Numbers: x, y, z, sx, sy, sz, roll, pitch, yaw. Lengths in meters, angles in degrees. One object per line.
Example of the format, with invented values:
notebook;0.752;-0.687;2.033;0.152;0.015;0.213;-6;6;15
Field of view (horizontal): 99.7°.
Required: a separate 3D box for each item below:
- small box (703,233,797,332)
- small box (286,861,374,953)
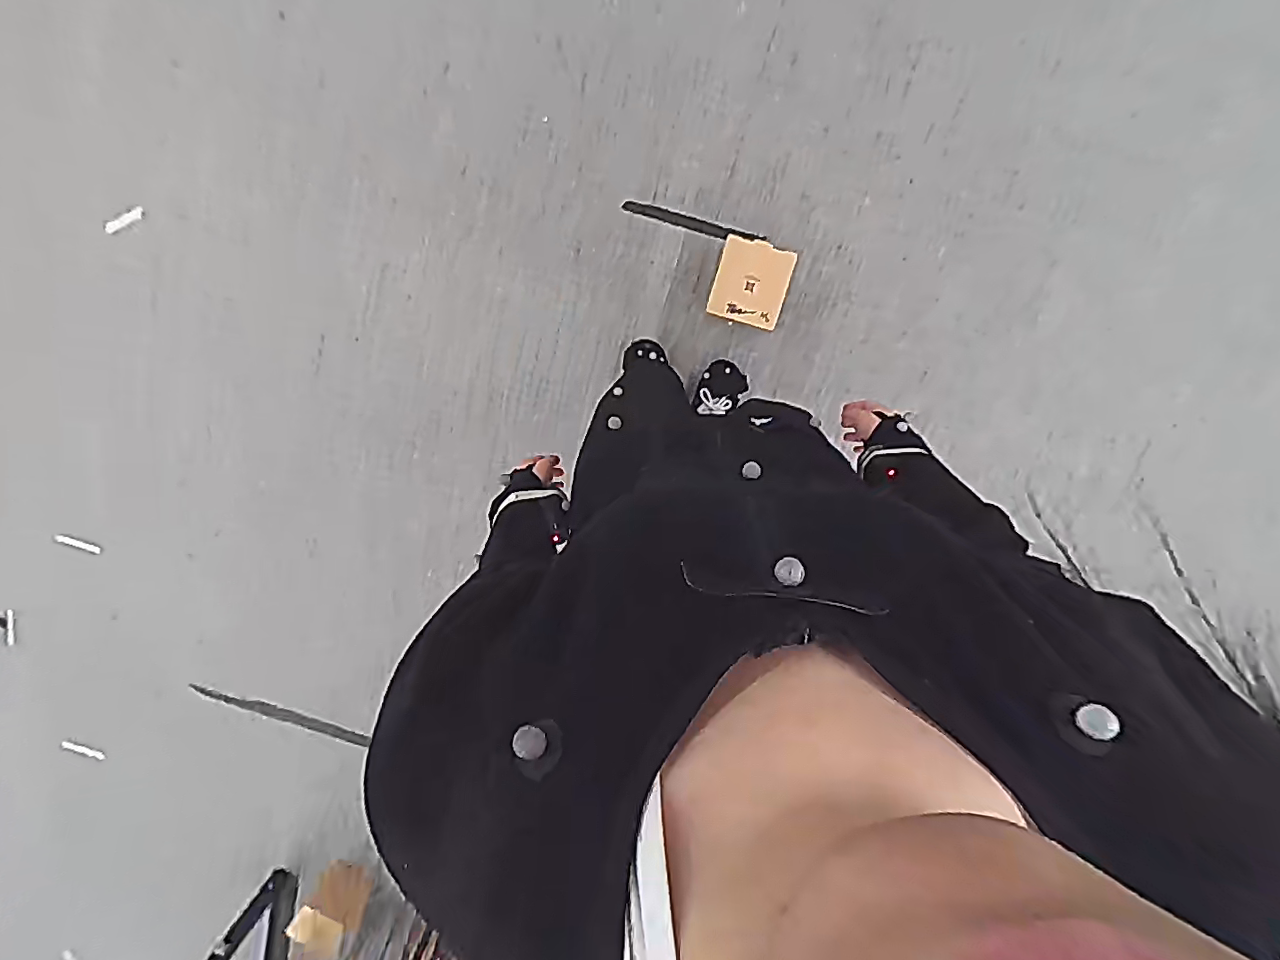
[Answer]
small box;0.255;-0.467;1.305;0.168;0.176;0.179;16;103;0
small box;-1.082;1.488;1.898;0.179;0.176;0.168;34;104;-6
